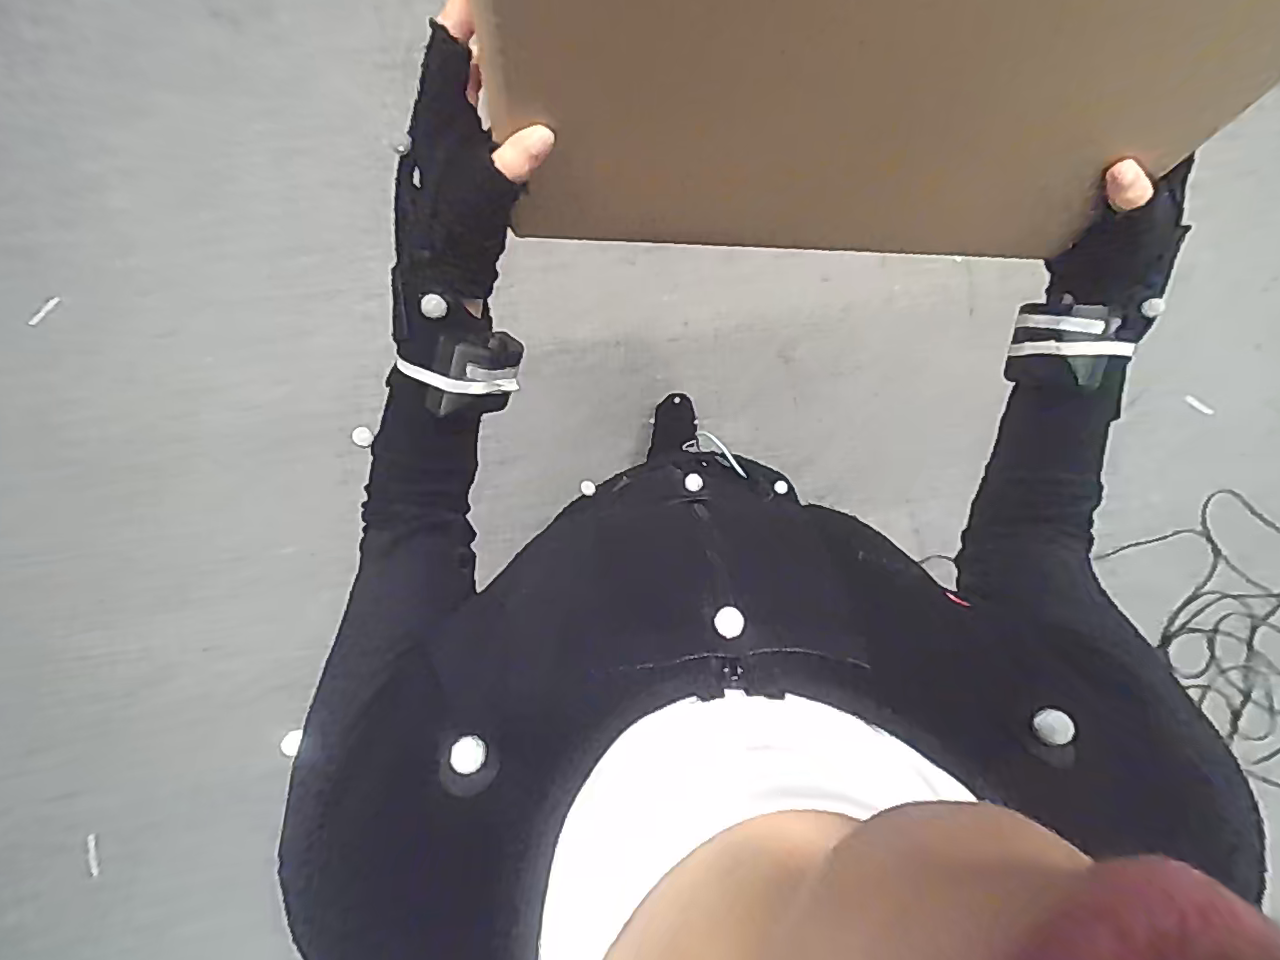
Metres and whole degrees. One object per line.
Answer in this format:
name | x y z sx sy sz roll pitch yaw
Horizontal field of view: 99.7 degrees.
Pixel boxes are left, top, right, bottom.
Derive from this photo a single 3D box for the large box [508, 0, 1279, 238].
large box | 0.129 -0.357 0.278 0.408 0.320 0.320 -2 75 -10
